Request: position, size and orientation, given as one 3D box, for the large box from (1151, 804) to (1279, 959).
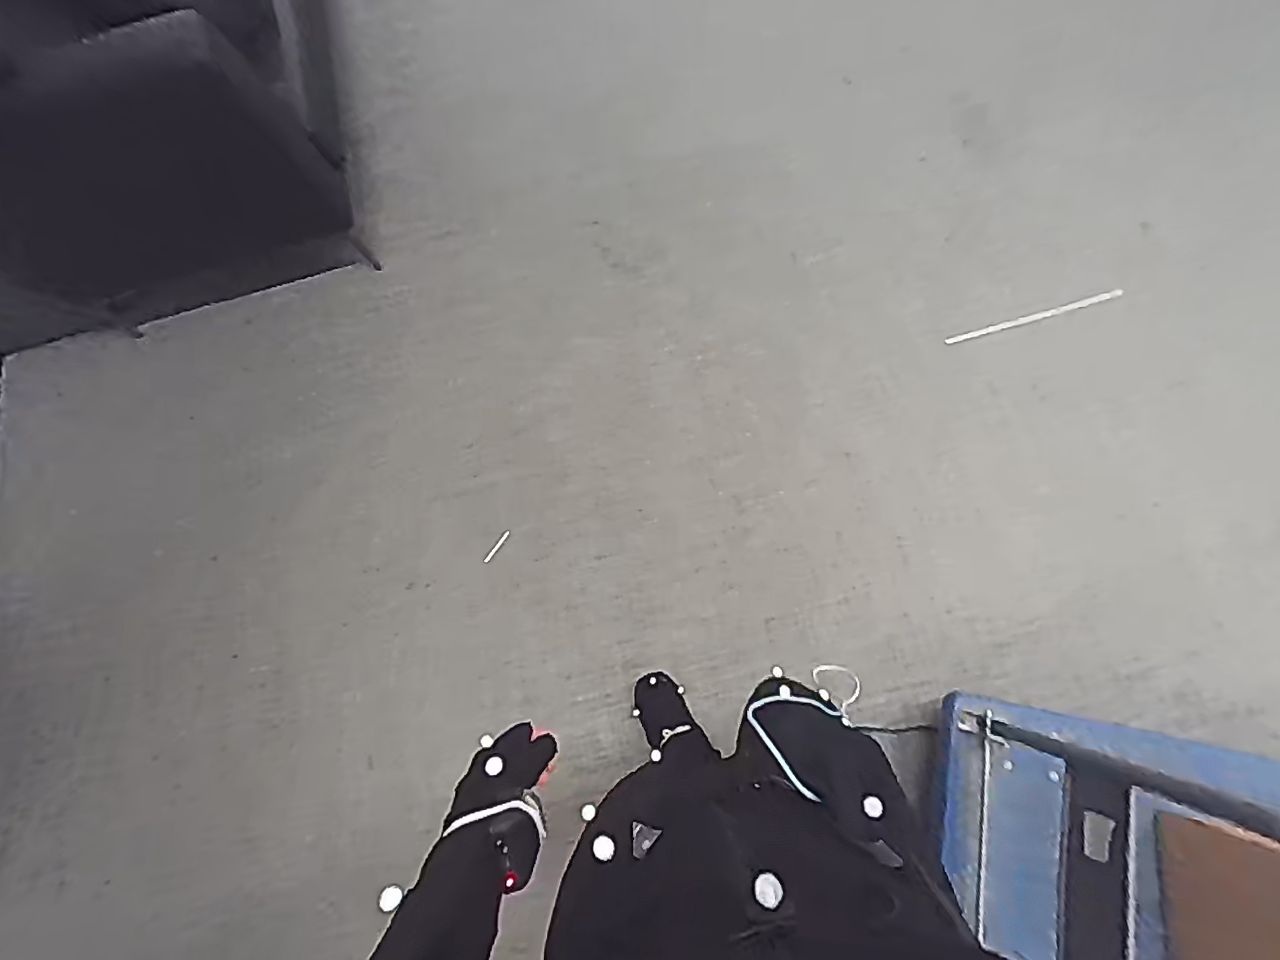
[{"bbox_3d":[1.042,0.753,0.776,0.320,0.320,0.408,6,74,7],"label":"large box"}]
